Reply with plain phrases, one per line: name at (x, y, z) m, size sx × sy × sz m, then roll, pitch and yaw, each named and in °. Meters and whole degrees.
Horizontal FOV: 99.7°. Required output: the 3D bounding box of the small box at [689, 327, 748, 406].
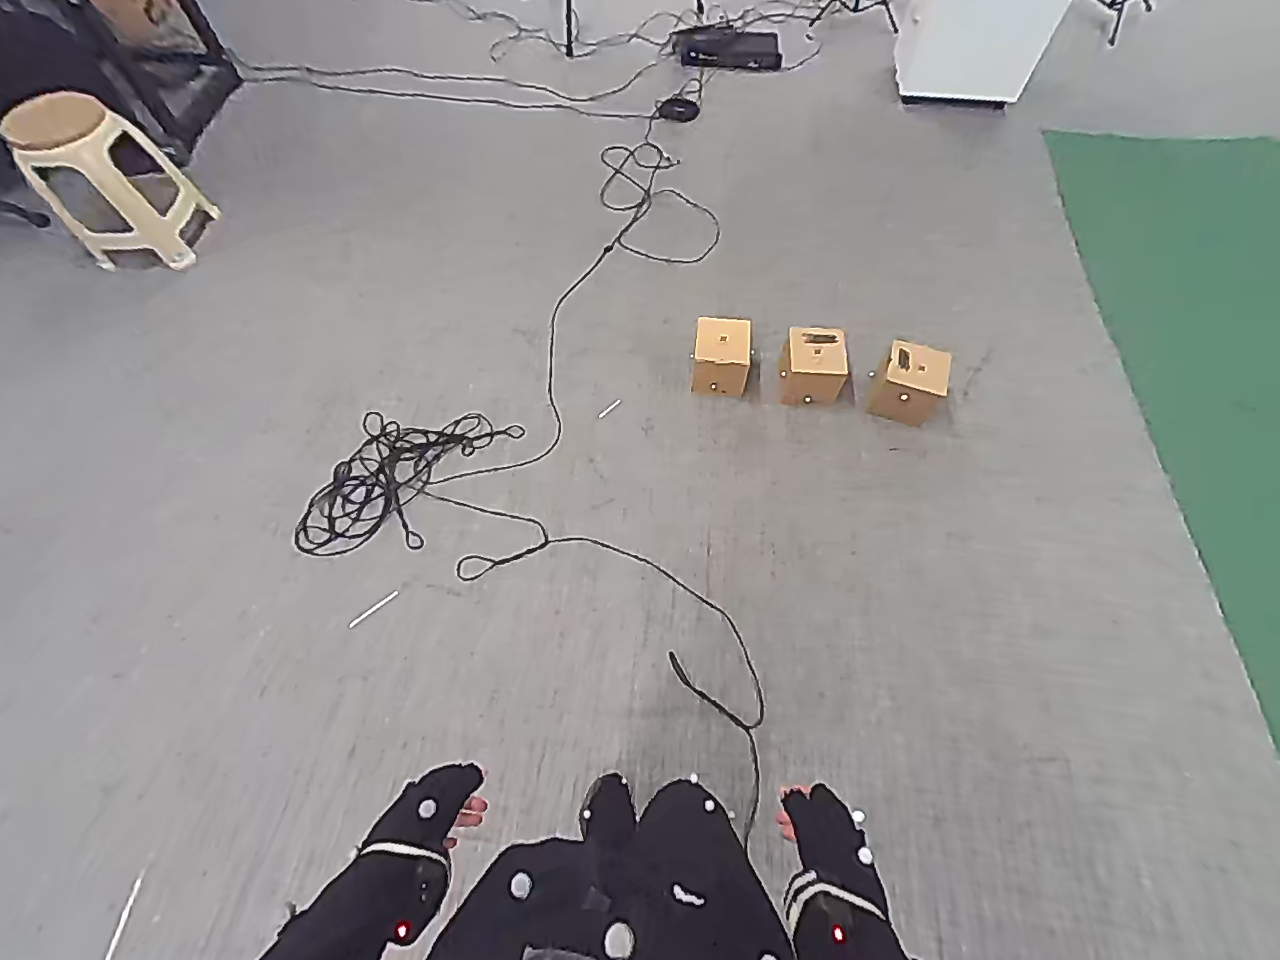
small box at (0.248, -0.362, 1.728) m, size 0.168 × 0.176 × 0.179 m, roll 5°, pitch 62°, yaw 4°

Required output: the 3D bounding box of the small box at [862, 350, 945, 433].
small box at (0.807, -0.268, 1.669) m, size 0.179 × 0.176 × 0.168 m, roll 18°, pitch 64°, yaw 9°
